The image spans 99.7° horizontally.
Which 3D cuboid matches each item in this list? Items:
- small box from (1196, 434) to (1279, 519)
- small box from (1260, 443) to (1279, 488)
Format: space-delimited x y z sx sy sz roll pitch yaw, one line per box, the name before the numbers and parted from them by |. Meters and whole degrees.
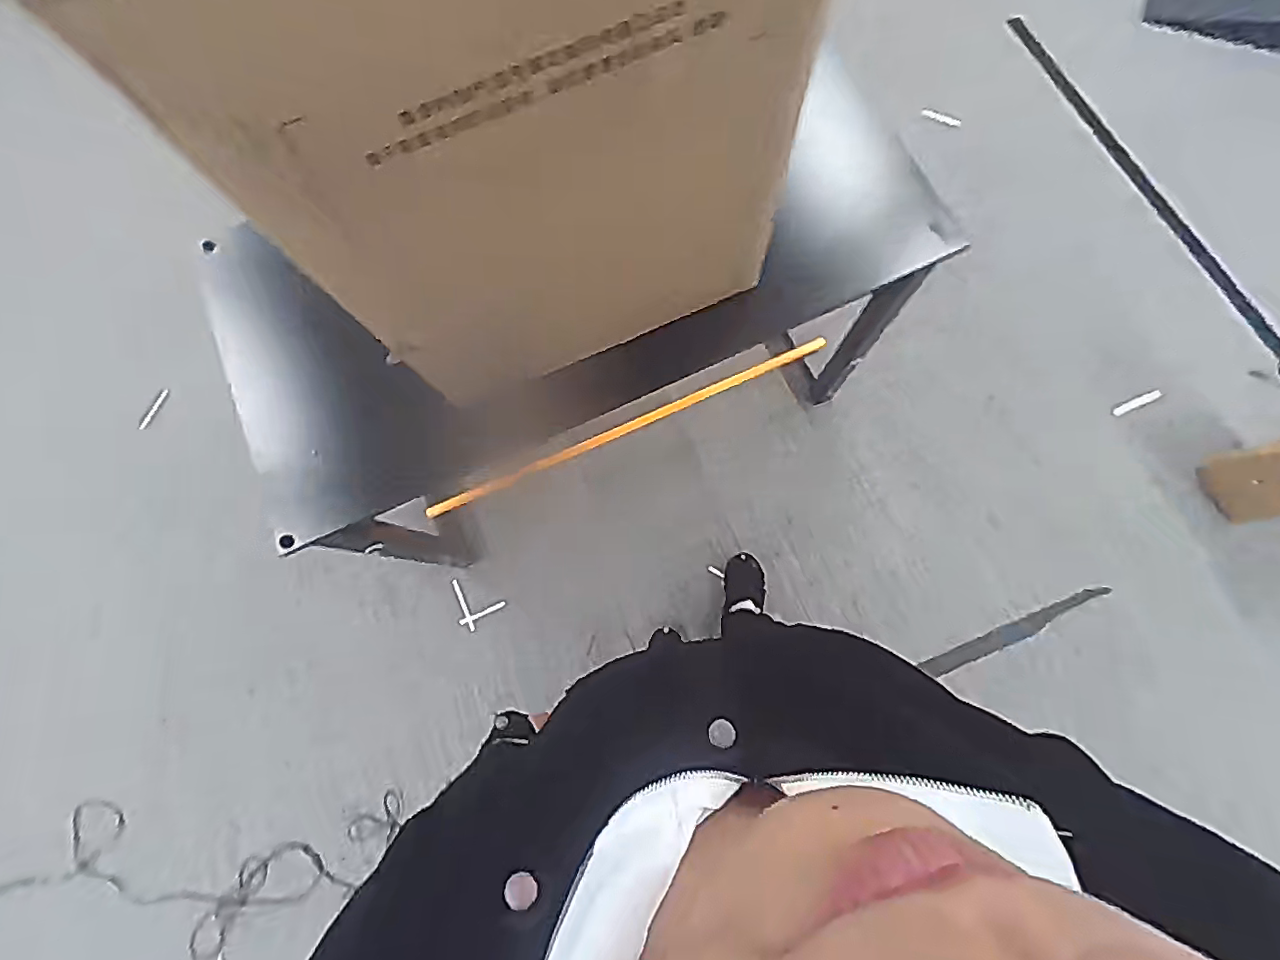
small box | 1.631 -0.014 1.406 0.168 0.176 0.179 -21 78 -1
small box | 1.629 -0.043 1.244 0.179 0.176 0.168 -21 78 -1
